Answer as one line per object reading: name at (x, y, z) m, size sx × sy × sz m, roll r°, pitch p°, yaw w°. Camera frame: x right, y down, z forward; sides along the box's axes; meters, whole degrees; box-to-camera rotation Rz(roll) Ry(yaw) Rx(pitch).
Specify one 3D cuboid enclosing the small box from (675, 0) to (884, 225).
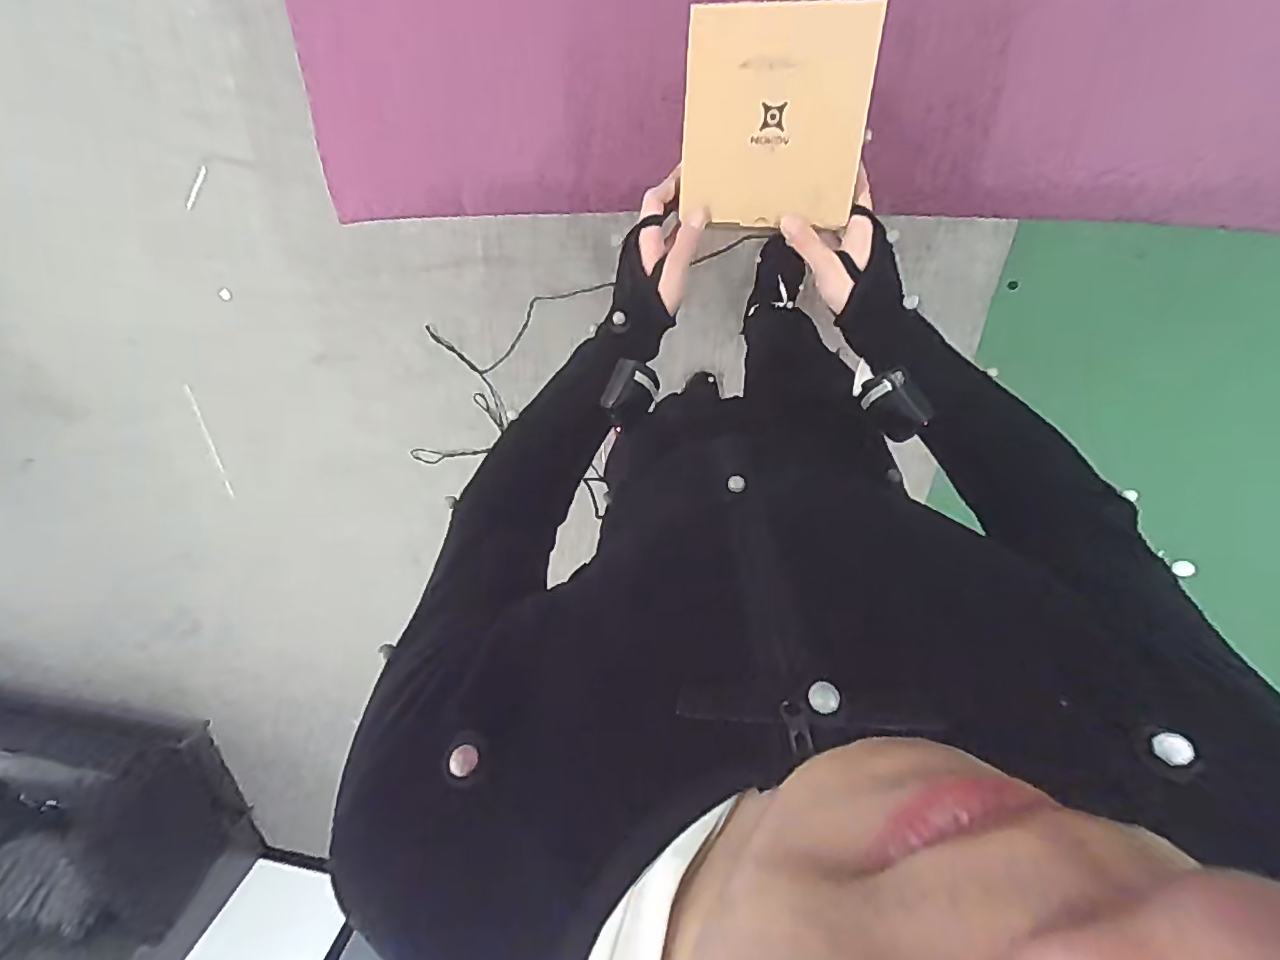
small box at (0.132, -0.364, 0.560) m, size 0.168 × 0.176 × 0.179 m, roll 6°, pitch 114°, yaw 9°
